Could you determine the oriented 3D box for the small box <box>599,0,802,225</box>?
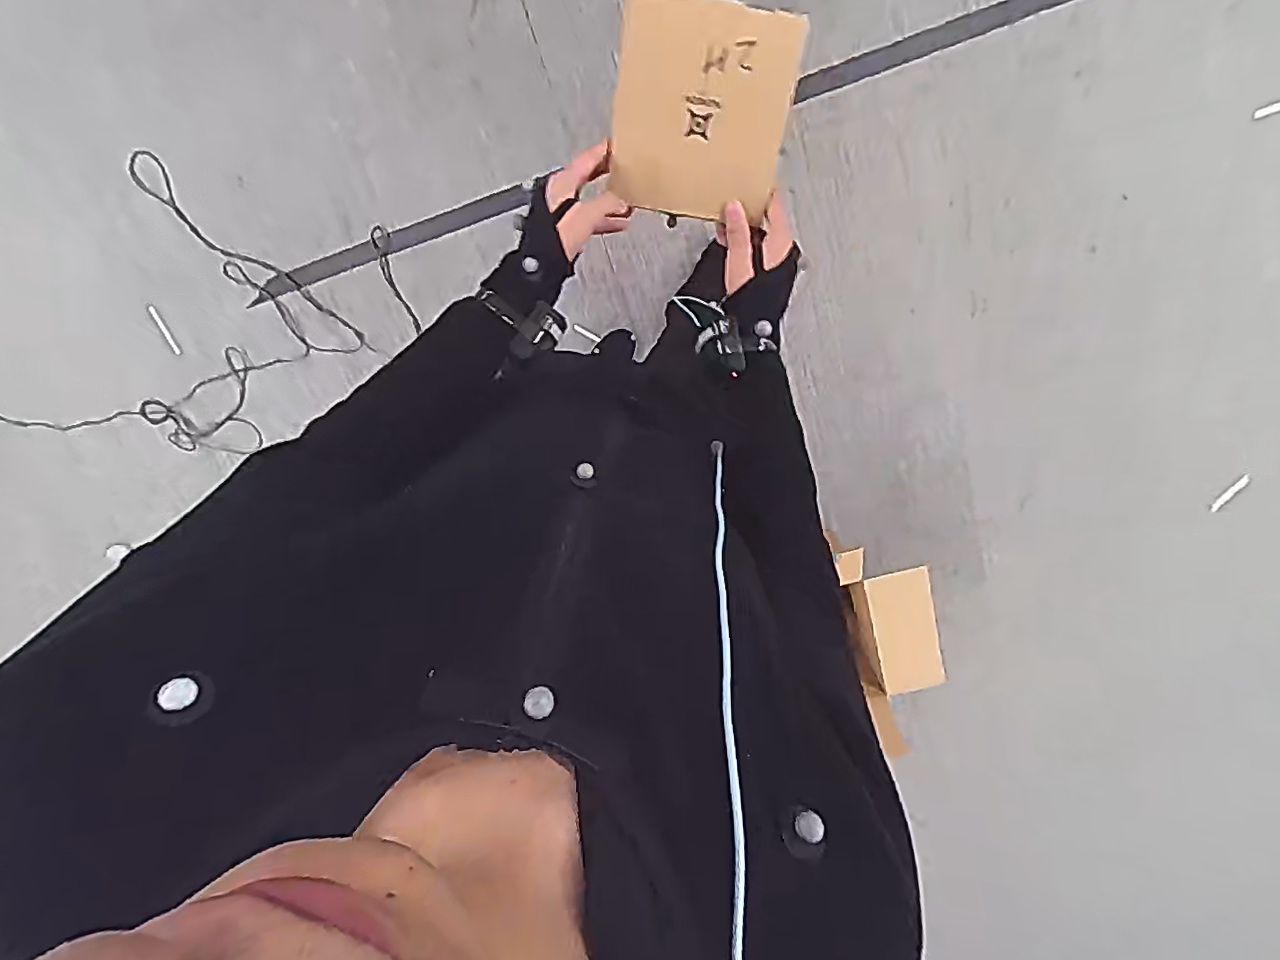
[{"bbox_3d":[0.051,-0.382,0.578,0.168,0.176,0.179,7,117,-5],"label":"small box"}]
